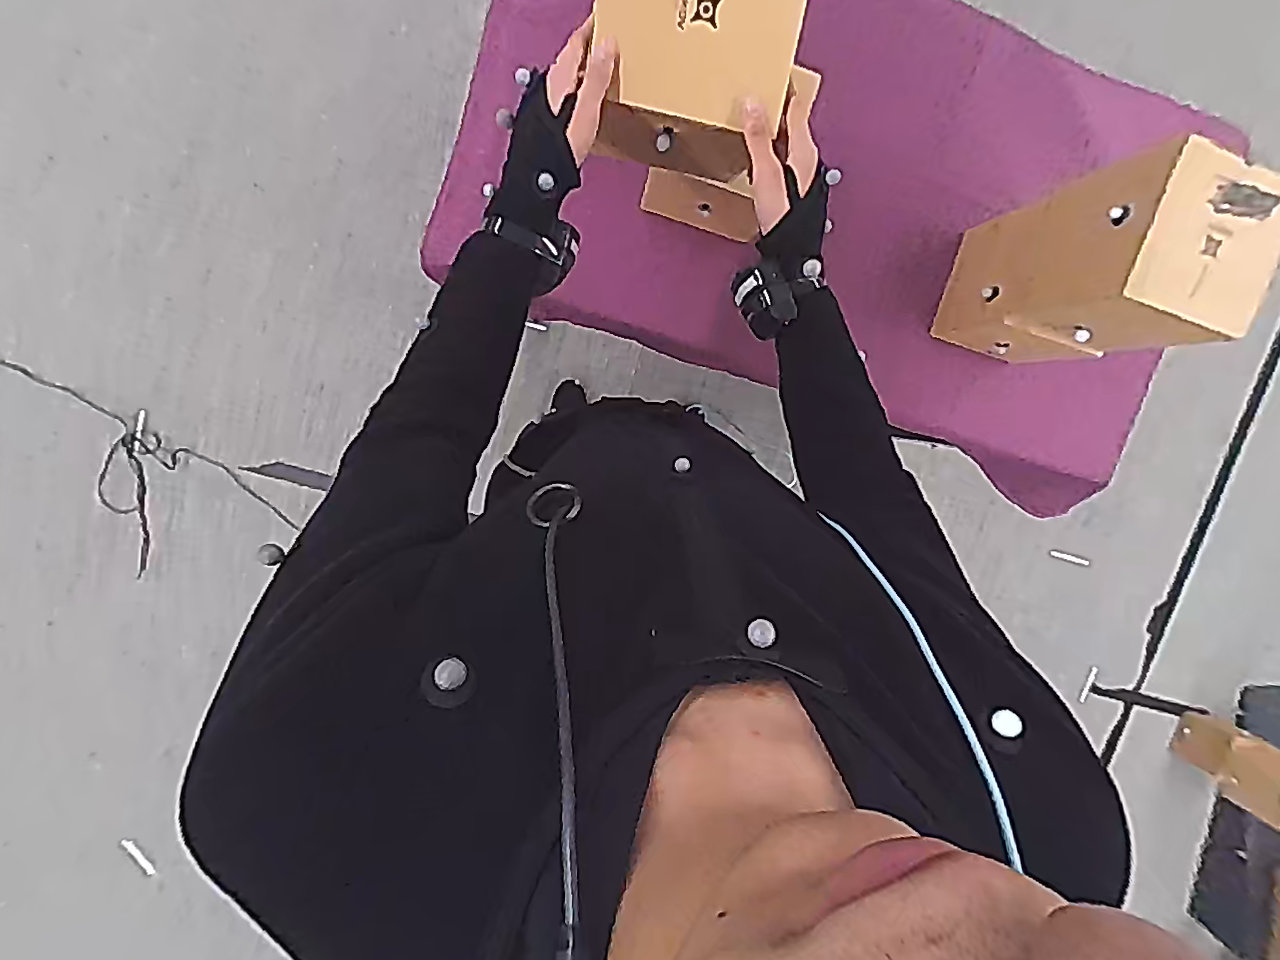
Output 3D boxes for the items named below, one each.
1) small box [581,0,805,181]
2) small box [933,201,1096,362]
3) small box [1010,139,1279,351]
[{"bbox_3d":[0.044,-0.412,0.530,0.179,0.176,0.168,9,106,-6],"label":"small box"},{"bbox_3d":[0.593,-0.290,0.836,0.168,0.176,0.179,16,97,-9],"label":"small box"},{"bbox_3d":[0.614,-0.272,0.674,0.168,0.176,0.179,16,98,-8],"label":"small box"}]
